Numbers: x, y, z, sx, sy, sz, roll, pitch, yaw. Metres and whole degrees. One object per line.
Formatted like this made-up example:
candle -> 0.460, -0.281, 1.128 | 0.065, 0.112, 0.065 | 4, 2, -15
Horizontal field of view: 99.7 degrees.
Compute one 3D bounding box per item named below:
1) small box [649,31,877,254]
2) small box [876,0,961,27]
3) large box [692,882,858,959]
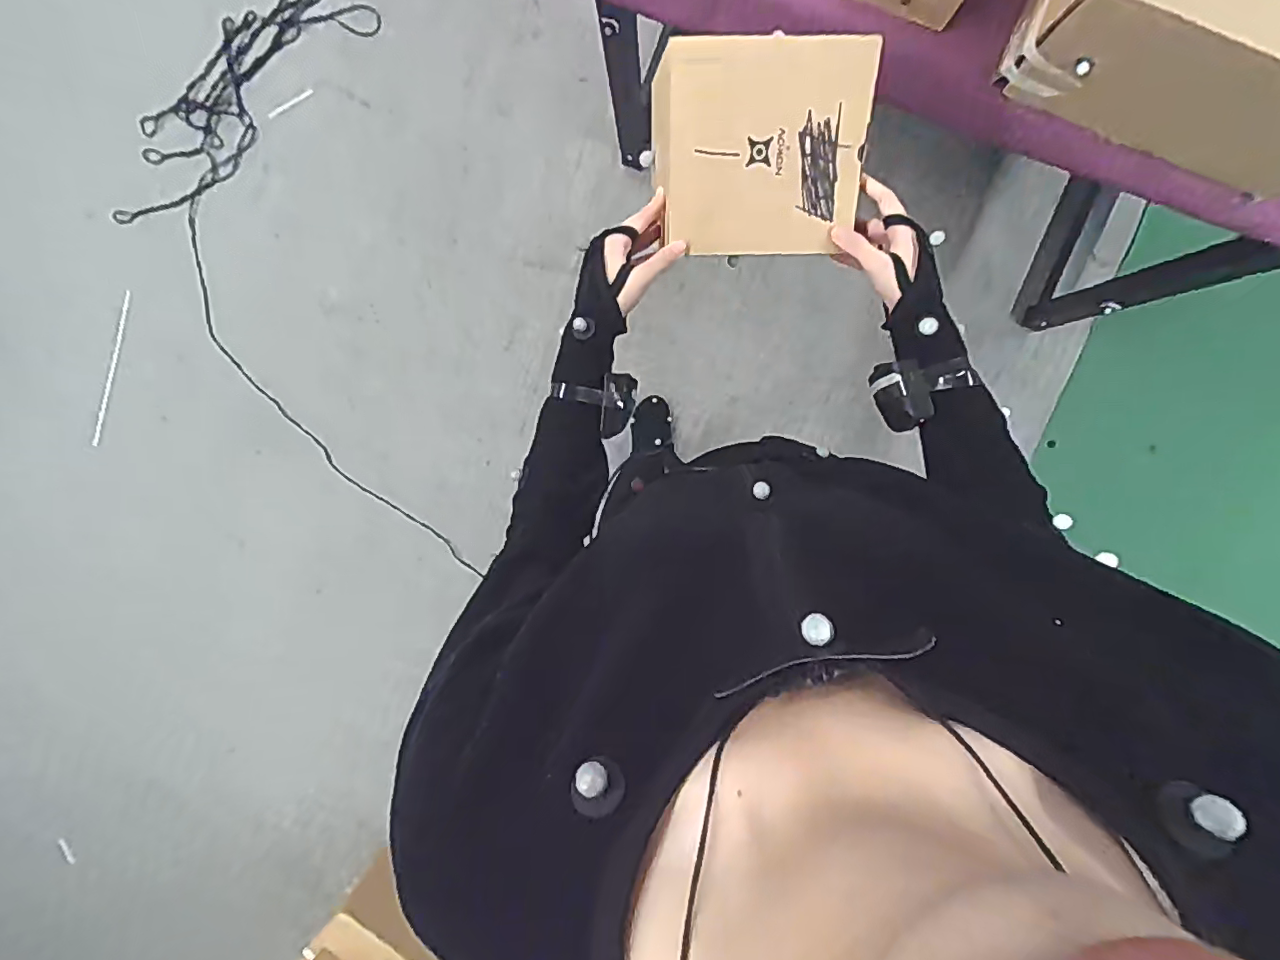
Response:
small box -> 0.104, -0.322, 0.543 | 0.179, 0.176, 0.168 | -1, 115, -3
small box -> 0.344, -0.681, 0.615 | 0.168, 0.176, 0.179 | 23, 95, 0
large box -> 0.356, 1.373, 1.469 | 0.408, 0.320, 0.320 | 6, 96, 1
